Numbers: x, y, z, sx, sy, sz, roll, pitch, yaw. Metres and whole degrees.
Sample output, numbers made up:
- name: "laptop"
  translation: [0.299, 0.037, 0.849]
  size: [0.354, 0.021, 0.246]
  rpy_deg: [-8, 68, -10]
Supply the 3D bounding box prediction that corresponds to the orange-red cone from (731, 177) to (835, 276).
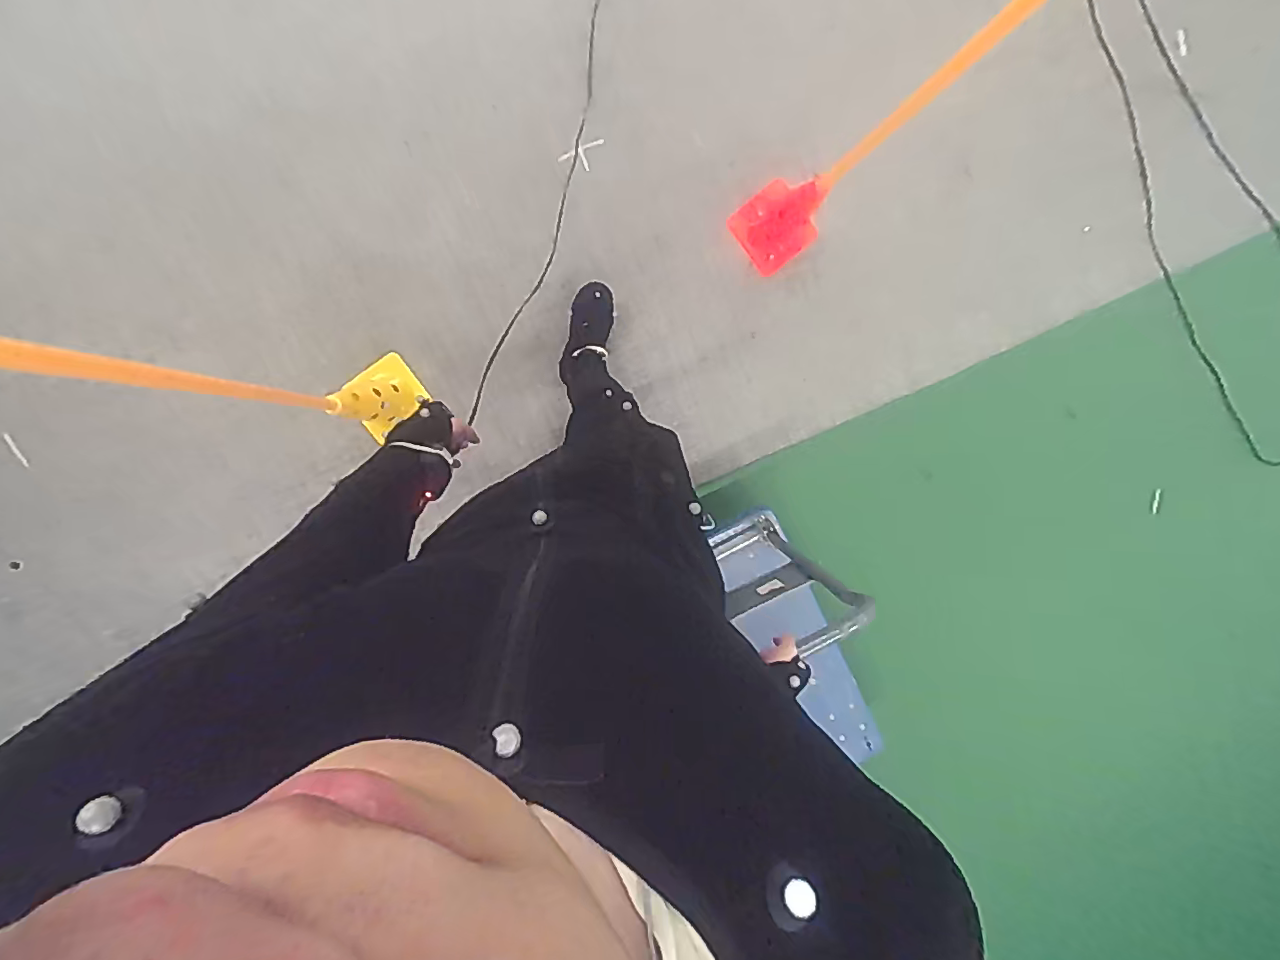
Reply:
- name: "orange-red cone"
  translation: [0.395, -0.676, 1.354]
  size: [0.199, 0.360, 0.198]
  rpy_deg: [-38, 101, 2]
